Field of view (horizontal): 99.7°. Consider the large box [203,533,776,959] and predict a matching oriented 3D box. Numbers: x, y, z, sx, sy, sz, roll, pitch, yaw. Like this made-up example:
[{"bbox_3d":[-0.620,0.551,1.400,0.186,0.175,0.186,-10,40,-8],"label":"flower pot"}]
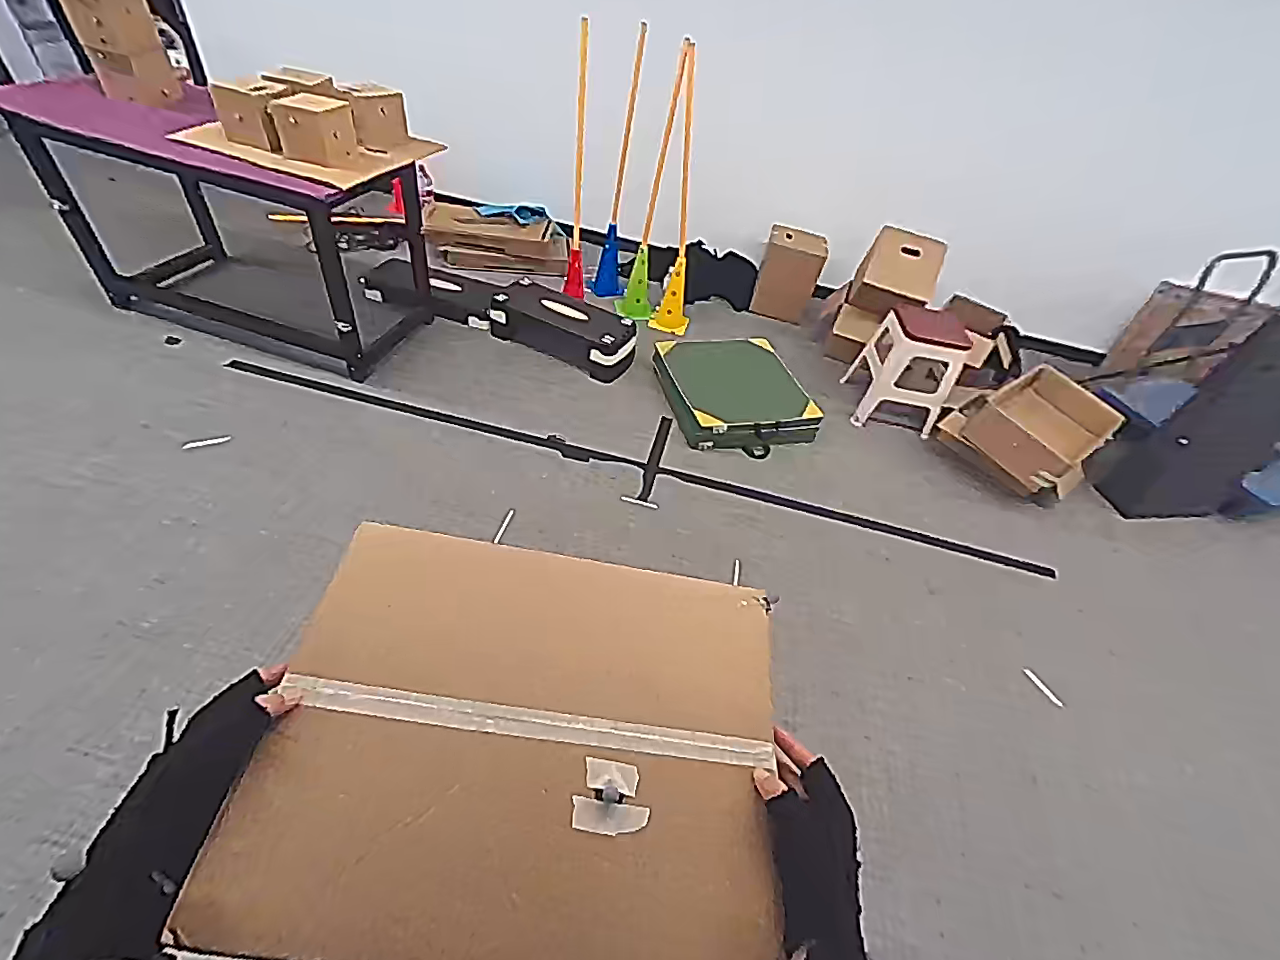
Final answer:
[{"bbox_3d":[-0.112,0.291,0.579,0.408,0.320,0.320,10,53,-6],"label":"large box"}]
